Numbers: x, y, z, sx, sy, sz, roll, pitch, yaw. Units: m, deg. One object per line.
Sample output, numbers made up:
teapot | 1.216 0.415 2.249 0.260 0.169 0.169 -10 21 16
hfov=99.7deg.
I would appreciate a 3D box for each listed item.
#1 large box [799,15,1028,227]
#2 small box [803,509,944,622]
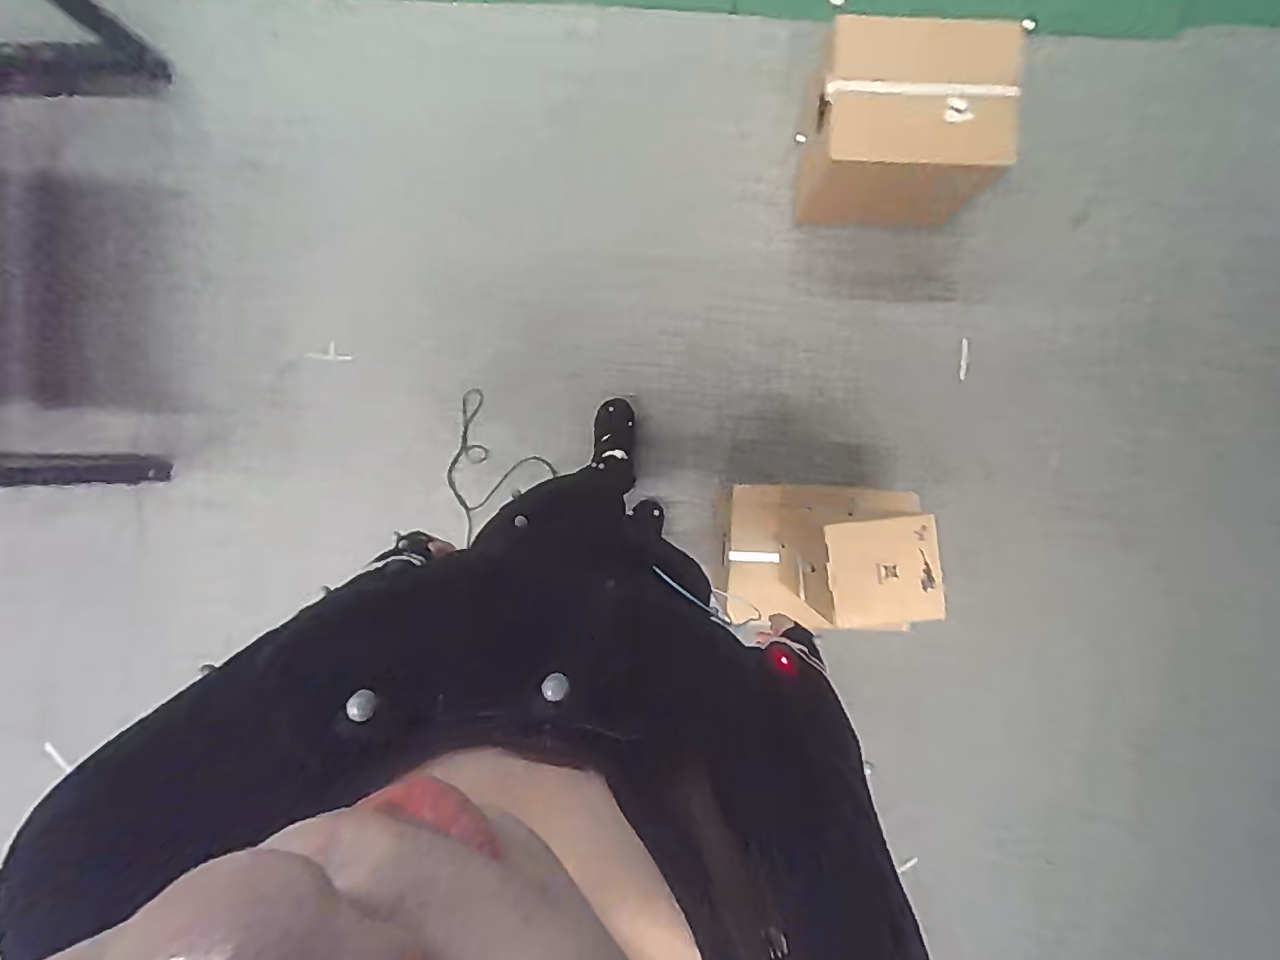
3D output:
large box | 0.628 -0.838 1.308 0.408 0.320 0.320 3 91 1
small box | 0.388 0.140 0.931 0.179 0.176 0.168 -5 89 3
